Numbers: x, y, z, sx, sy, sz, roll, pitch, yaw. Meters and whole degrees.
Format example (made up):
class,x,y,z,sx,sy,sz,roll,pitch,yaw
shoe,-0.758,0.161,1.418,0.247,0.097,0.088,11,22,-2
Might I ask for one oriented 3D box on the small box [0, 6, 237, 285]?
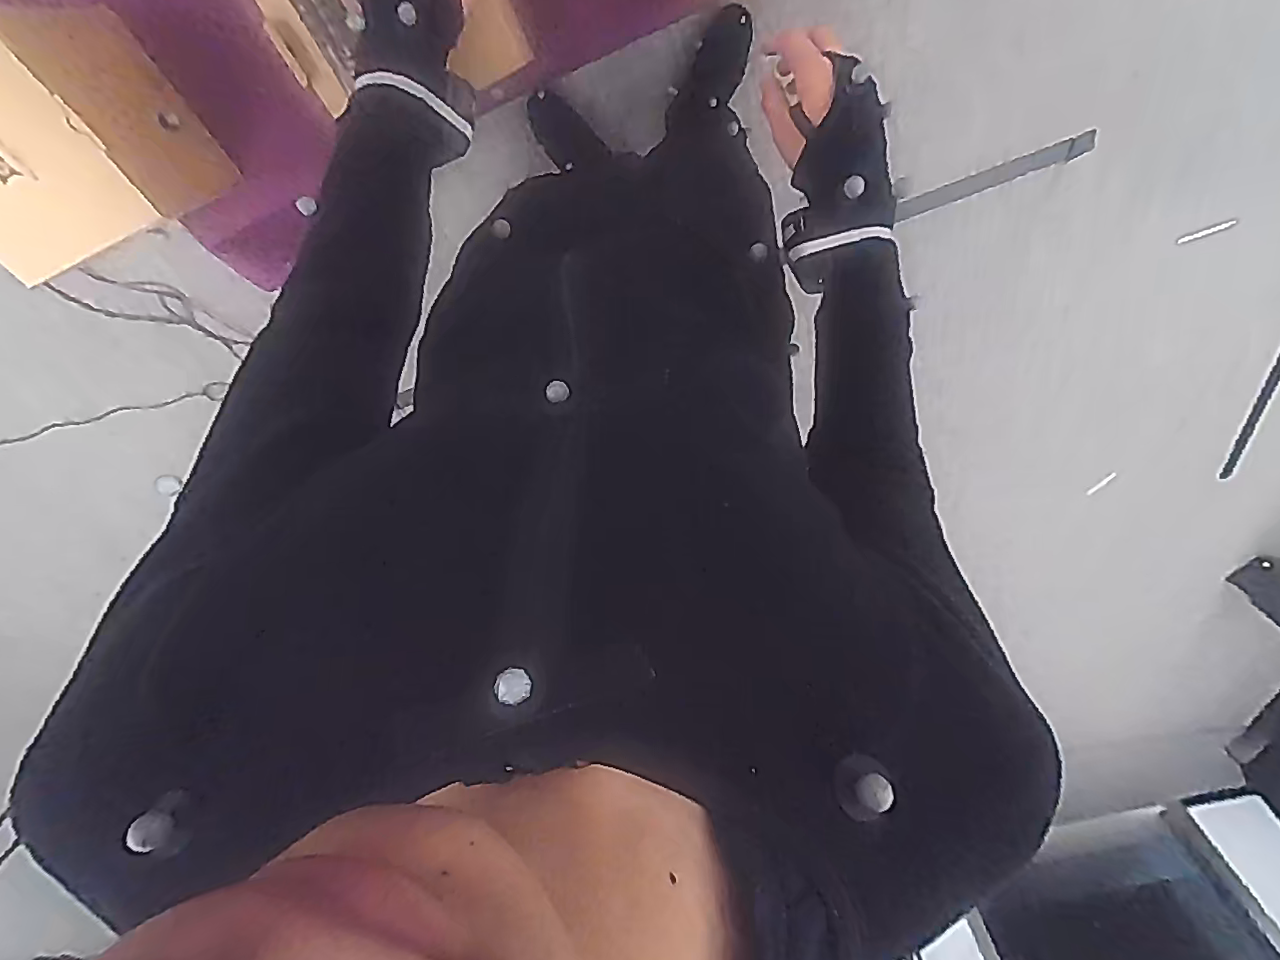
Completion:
class,x,y,z,sx,sy,sz,roll,pitch,yaw
small box,-0.563,-0.328,0.538,0.179,0.176,0.168,-21,129,9
